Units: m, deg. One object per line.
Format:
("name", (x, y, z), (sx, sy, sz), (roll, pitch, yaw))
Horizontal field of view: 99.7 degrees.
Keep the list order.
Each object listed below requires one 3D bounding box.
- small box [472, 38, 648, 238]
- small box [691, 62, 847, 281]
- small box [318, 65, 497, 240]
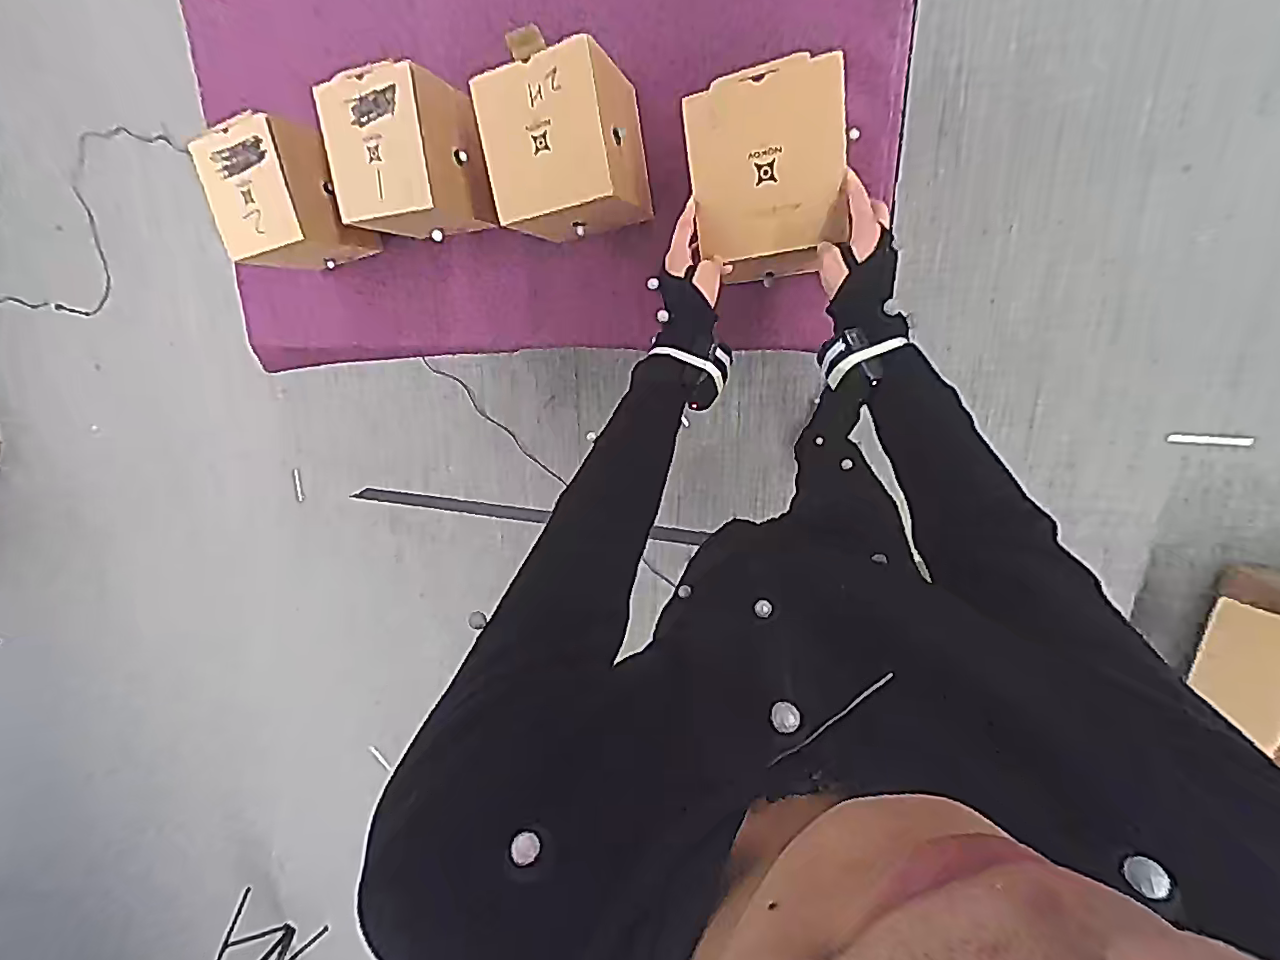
("small box", (-0.096, -0.443, 0.740), (0.168, 0.176, 0.179), (-5, 104, 19))
("small box", (0.165, -0.360, 0.670), (0.168, 0.176, 0.179), (-1, 101, 20))
("small box", (-0.337, -0.474, 0.814), (0.168, 0.176, 0.179), (1, 106, 19))
